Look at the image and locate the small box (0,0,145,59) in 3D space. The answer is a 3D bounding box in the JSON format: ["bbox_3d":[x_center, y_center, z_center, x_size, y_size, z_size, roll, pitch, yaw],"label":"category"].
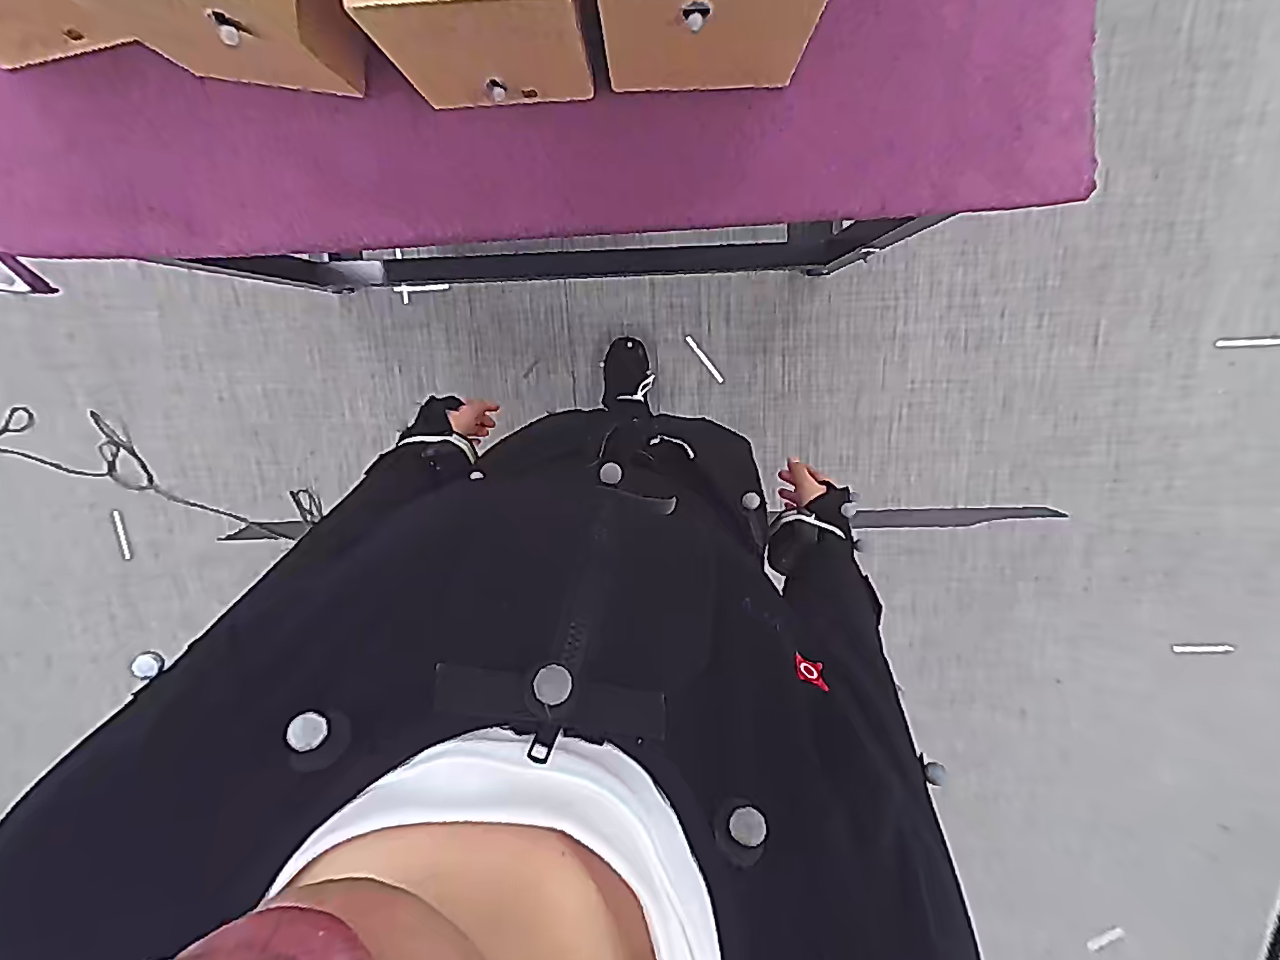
[{"bbox_3d":[-0.585,-0.494,0.453,0.168,0.176,0.179,-10,104,4],"label":"small box"}]
